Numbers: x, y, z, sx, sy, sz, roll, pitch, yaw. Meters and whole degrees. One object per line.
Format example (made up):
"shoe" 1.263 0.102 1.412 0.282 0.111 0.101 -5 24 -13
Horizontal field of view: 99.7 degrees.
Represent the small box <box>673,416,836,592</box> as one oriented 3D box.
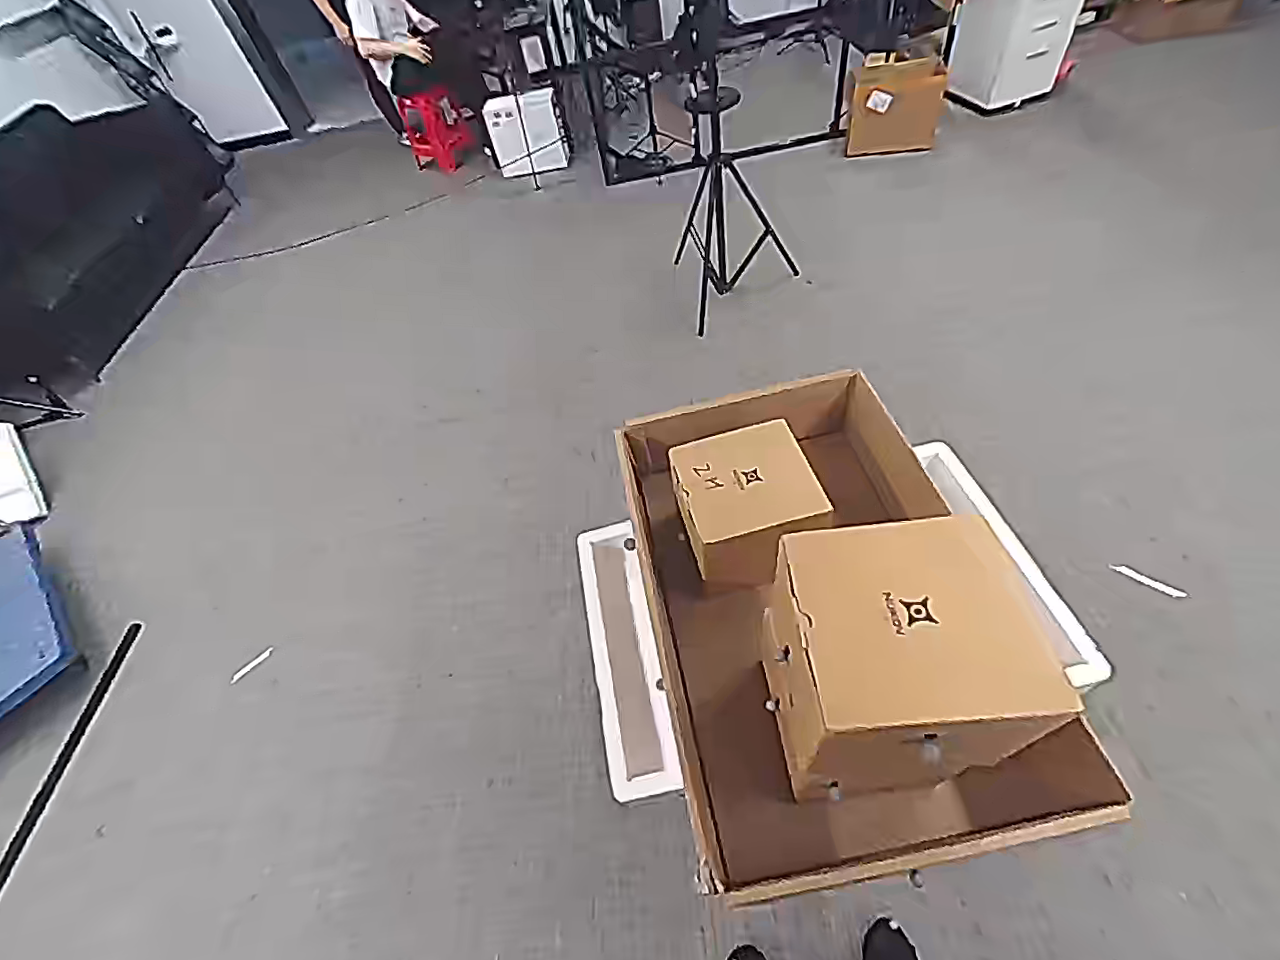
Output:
"small box" 0.154 0.039 0.781 0.179 0.176 0.168 -15 53 -2
